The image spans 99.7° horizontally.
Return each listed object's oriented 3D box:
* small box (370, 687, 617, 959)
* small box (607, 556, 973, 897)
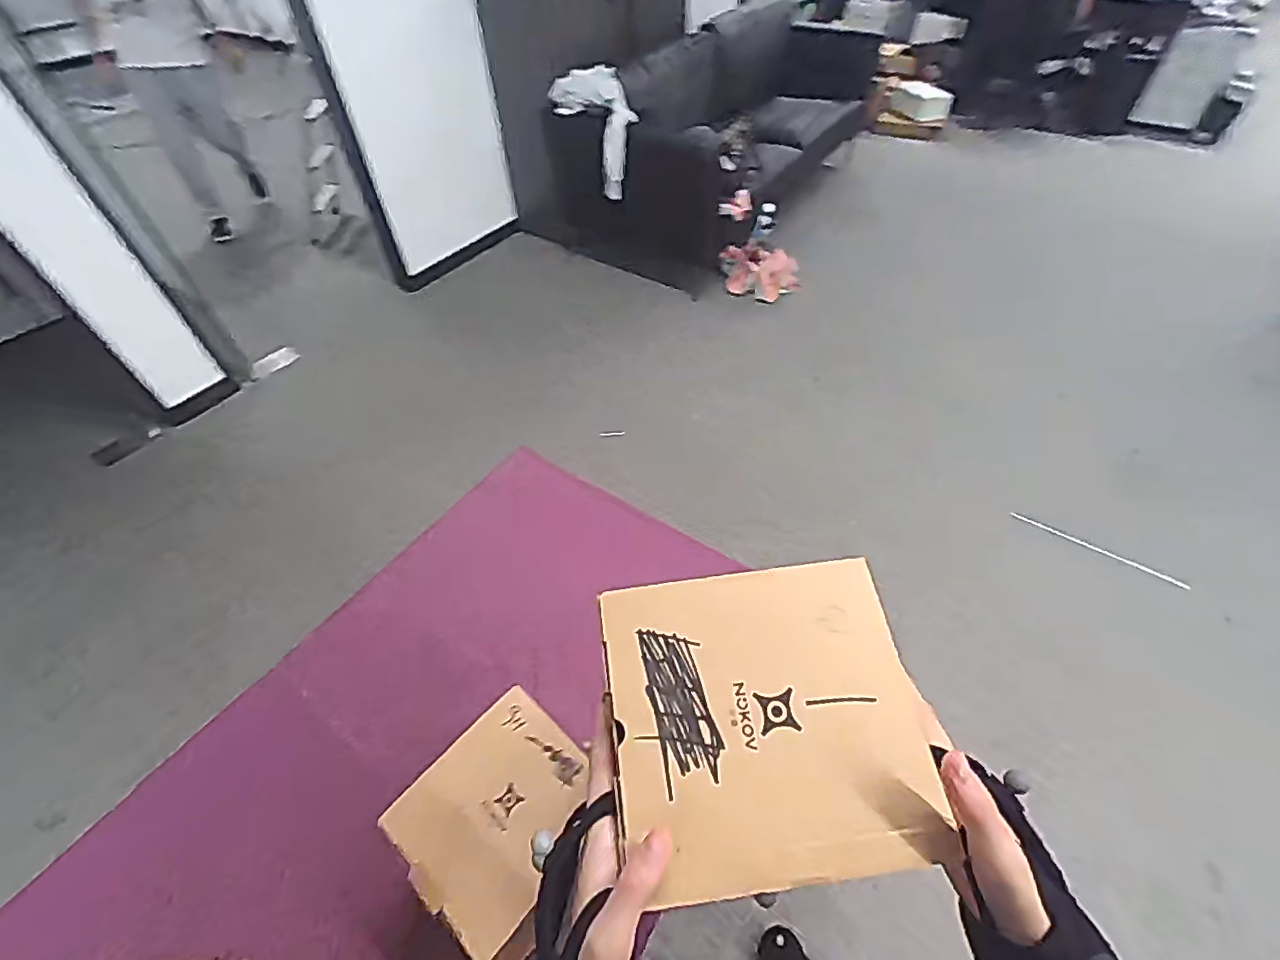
[{"bbox_3d":[-0.137,0.366,0.572,0.168,0.176,0.179,34,58,26],"label":"small box"},{"bbox_3d":[0.076,0.166,0.374,0.179,0.176,0.168,-6,61,-2],"label":"small box"}]
